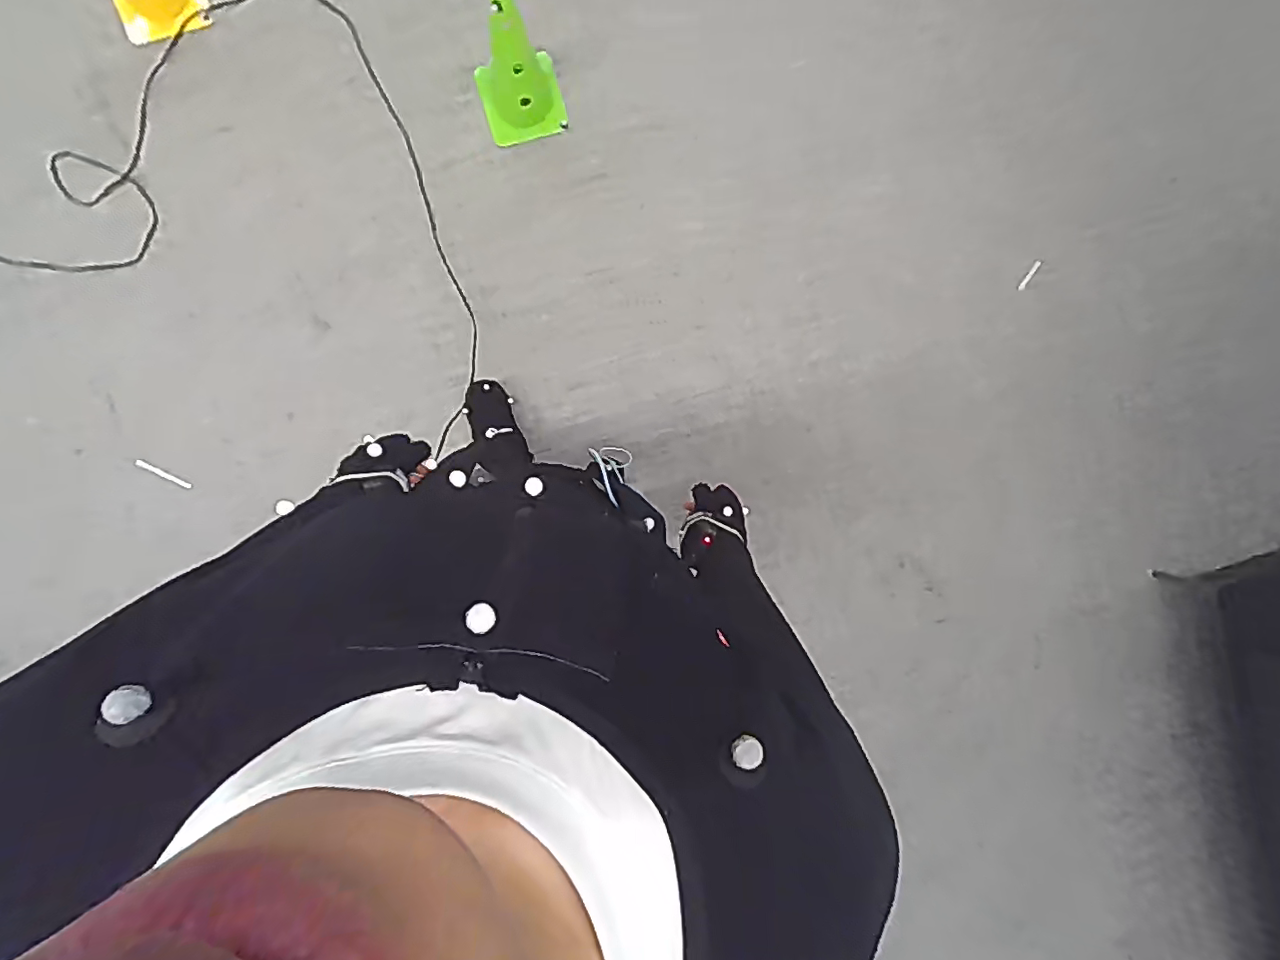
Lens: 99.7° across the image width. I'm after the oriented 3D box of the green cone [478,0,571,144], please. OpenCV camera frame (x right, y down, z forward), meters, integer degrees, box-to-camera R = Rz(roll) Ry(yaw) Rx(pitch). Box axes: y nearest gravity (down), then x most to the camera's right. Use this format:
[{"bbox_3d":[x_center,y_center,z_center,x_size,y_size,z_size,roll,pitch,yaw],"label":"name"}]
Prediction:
[{"bbox_3d":[-0.282,-0.967,1.209,0.202,0.368,0.200,-17,95,-2],"label":"green cone"}]
